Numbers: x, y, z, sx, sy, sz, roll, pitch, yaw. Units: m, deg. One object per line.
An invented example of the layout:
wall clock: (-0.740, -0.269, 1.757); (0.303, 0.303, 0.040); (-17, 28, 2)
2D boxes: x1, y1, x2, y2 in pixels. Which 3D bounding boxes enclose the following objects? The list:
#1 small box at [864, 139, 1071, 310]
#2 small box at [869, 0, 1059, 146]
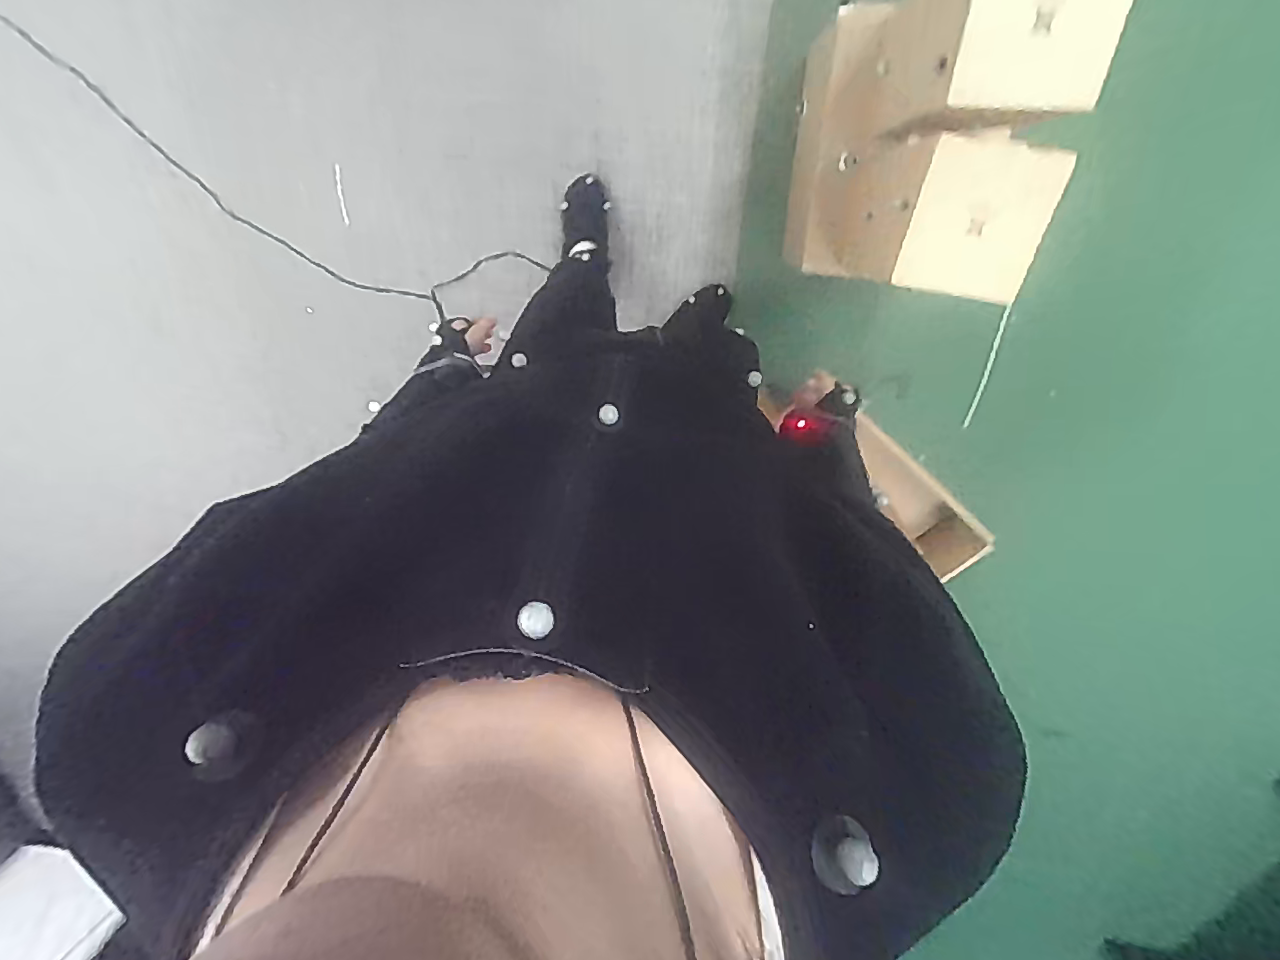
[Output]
small box: (0.433, -0.351, 0.755); (0.168, 0.176, 0.179); (11, 115, 3)
small box: (0.467, -0.607, 0.809); (0.179, 0.176, 0.168); (3, 116, 6)
